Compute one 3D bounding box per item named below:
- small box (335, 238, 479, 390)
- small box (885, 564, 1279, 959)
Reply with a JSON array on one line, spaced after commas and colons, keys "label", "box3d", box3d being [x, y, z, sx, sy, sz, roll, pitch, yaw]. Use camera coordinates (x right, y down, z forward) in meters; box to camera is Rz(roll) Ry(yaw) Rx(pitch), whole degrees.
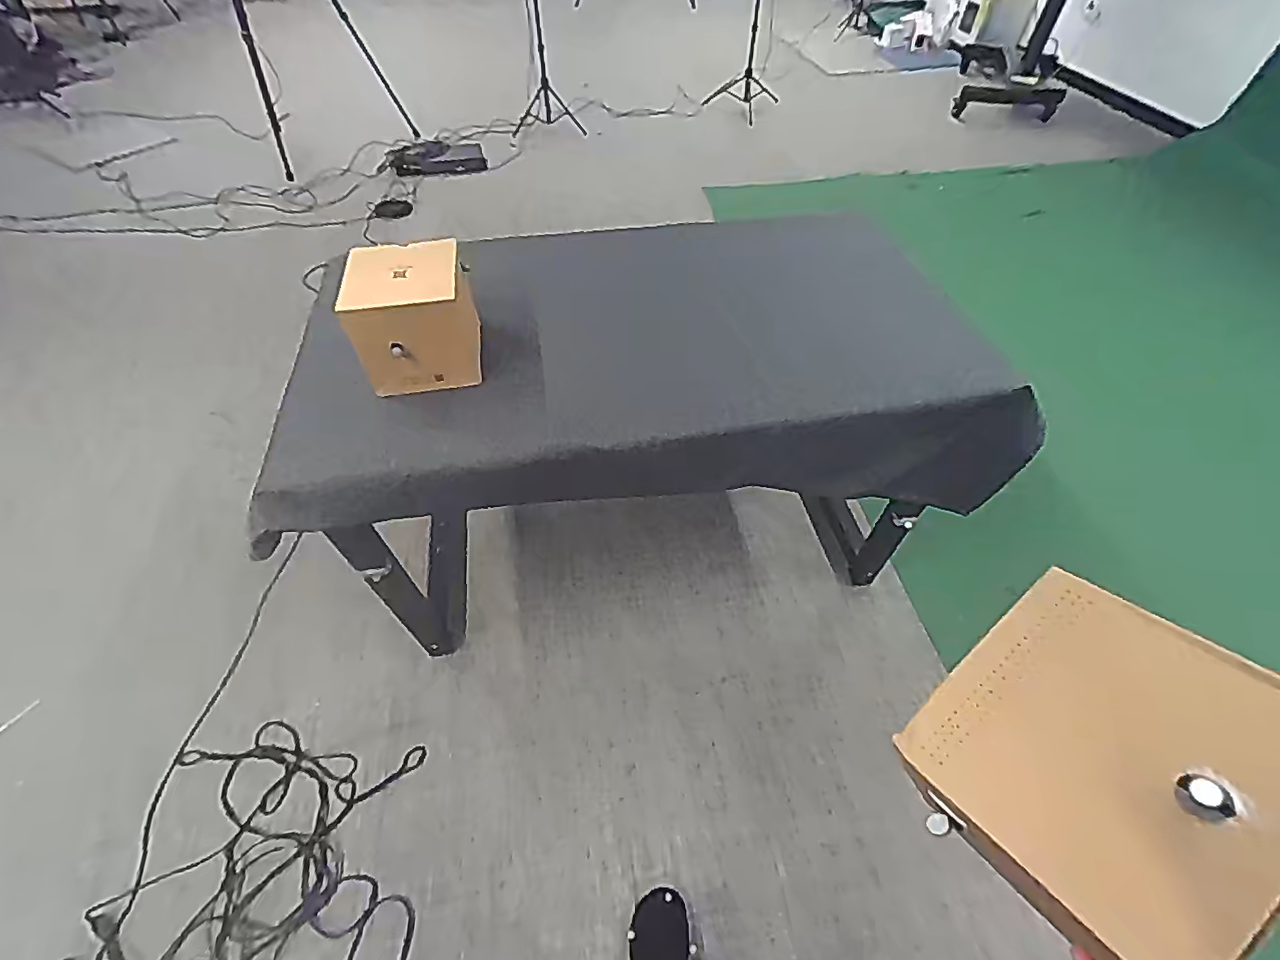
[{"label": "small box", "box3d": [-0.360, -0.260, 0.870, 0.168, 0.176, 0.179, -9, 51, -7]}, {"label": "small box", "box3d": [0.302, 0.189, 0.359, 0.179, 0.168, 0.176, -43, 36, -5]}]
